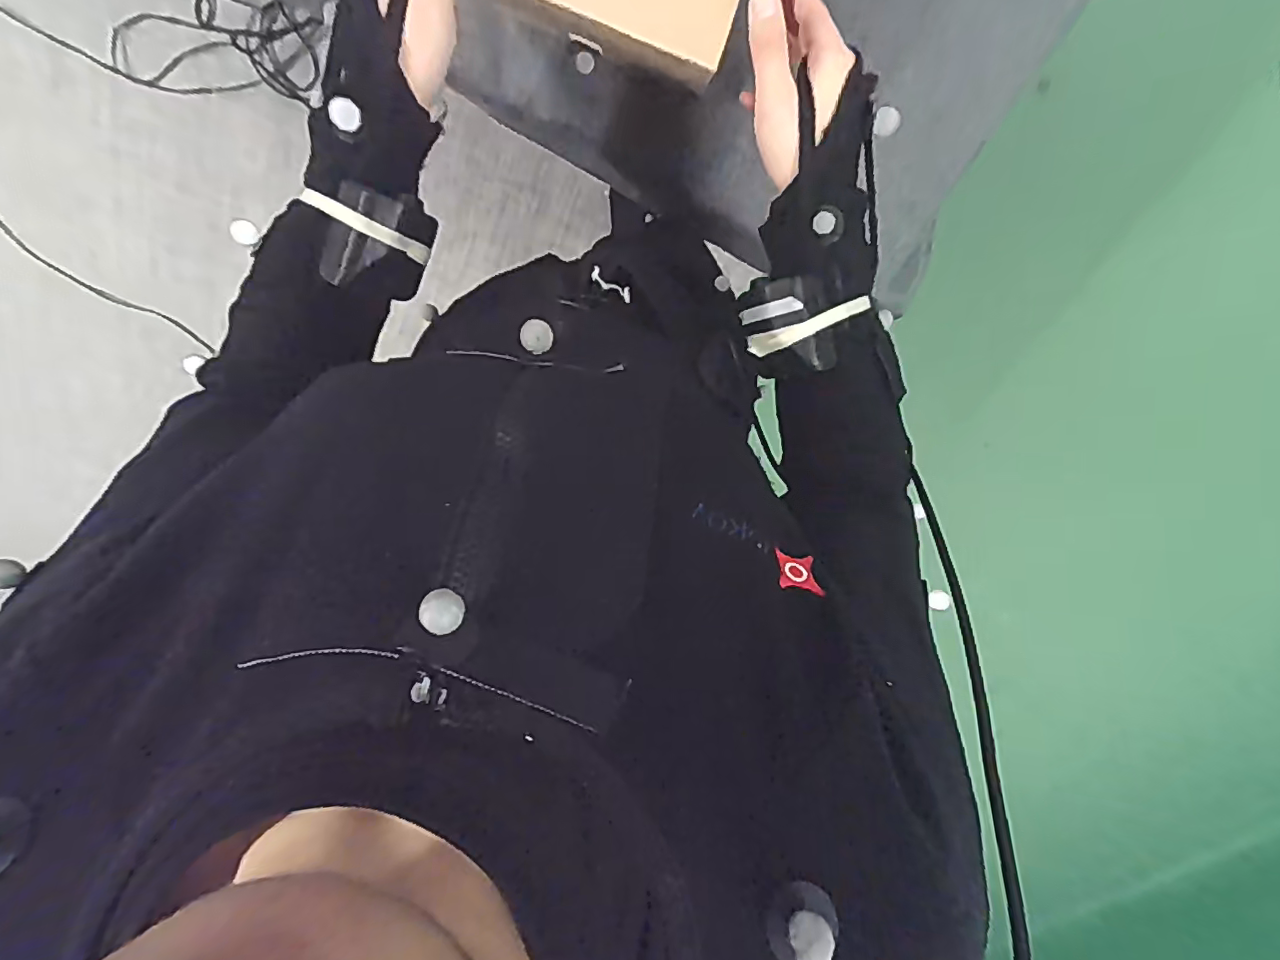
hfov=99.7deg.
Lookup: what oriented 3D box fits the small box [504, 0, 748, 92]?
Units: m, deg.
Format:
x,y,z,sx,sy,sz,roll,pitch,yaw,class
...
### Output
x,y,z,sx,sy,sz,roll,pitch,yaw,class
0.000,-0.368,0.326,0.168,0.176,0.179,17,121,-7,small box
